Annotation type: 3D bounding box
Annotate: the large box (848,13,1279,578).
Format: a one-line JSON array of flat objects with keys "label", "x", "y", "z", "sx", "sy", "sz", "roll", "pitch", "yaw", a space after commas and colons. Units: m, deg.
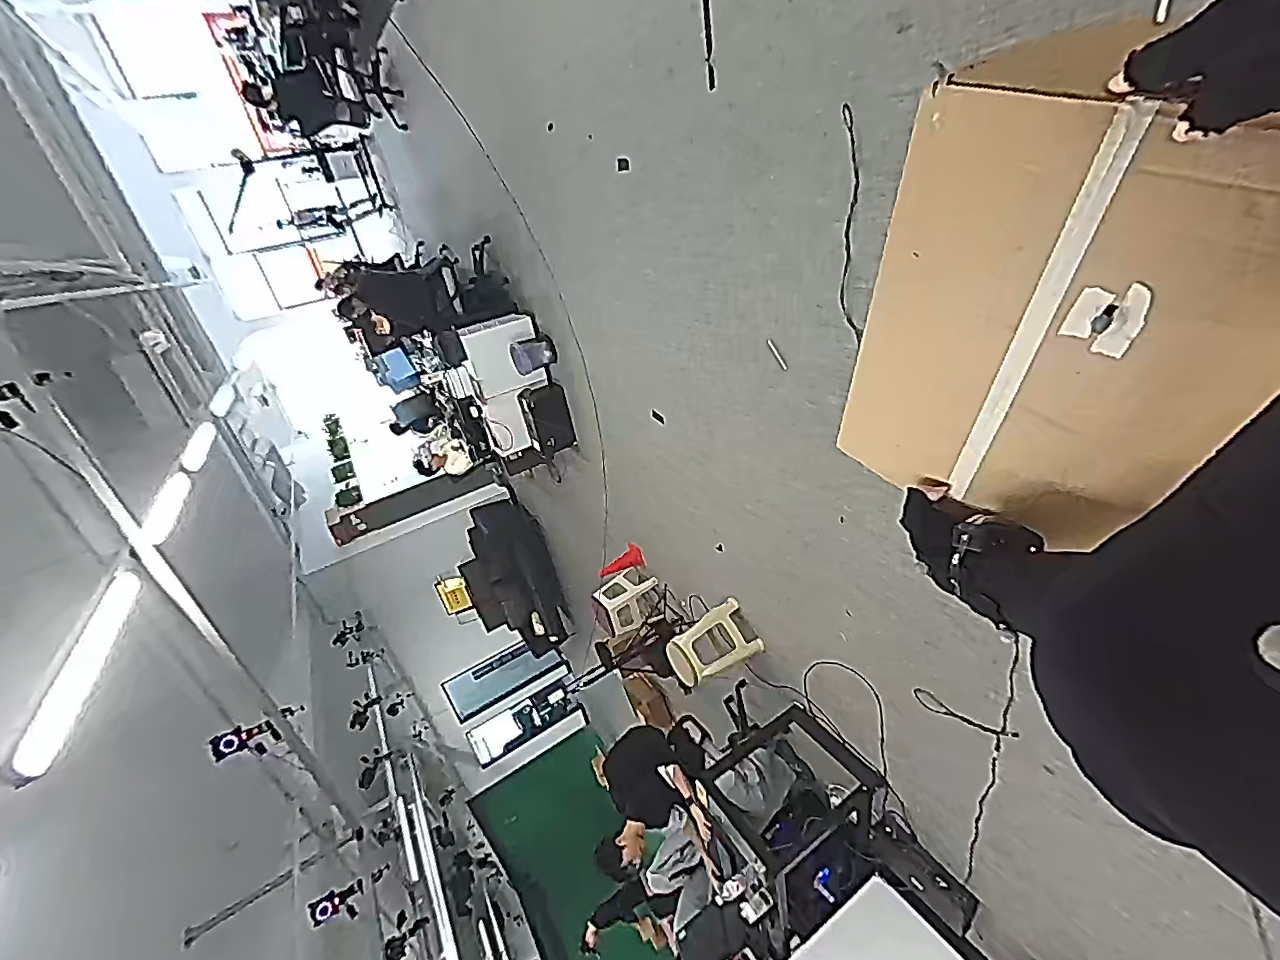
[{"label": "large box", "x": 0.466, "y": -0.190, "z": 0.544, "sx": 0.320, "sy": 0.320, "sz": 0.408, "roll": 41, "pitch": 150, "yaw": 37}]
